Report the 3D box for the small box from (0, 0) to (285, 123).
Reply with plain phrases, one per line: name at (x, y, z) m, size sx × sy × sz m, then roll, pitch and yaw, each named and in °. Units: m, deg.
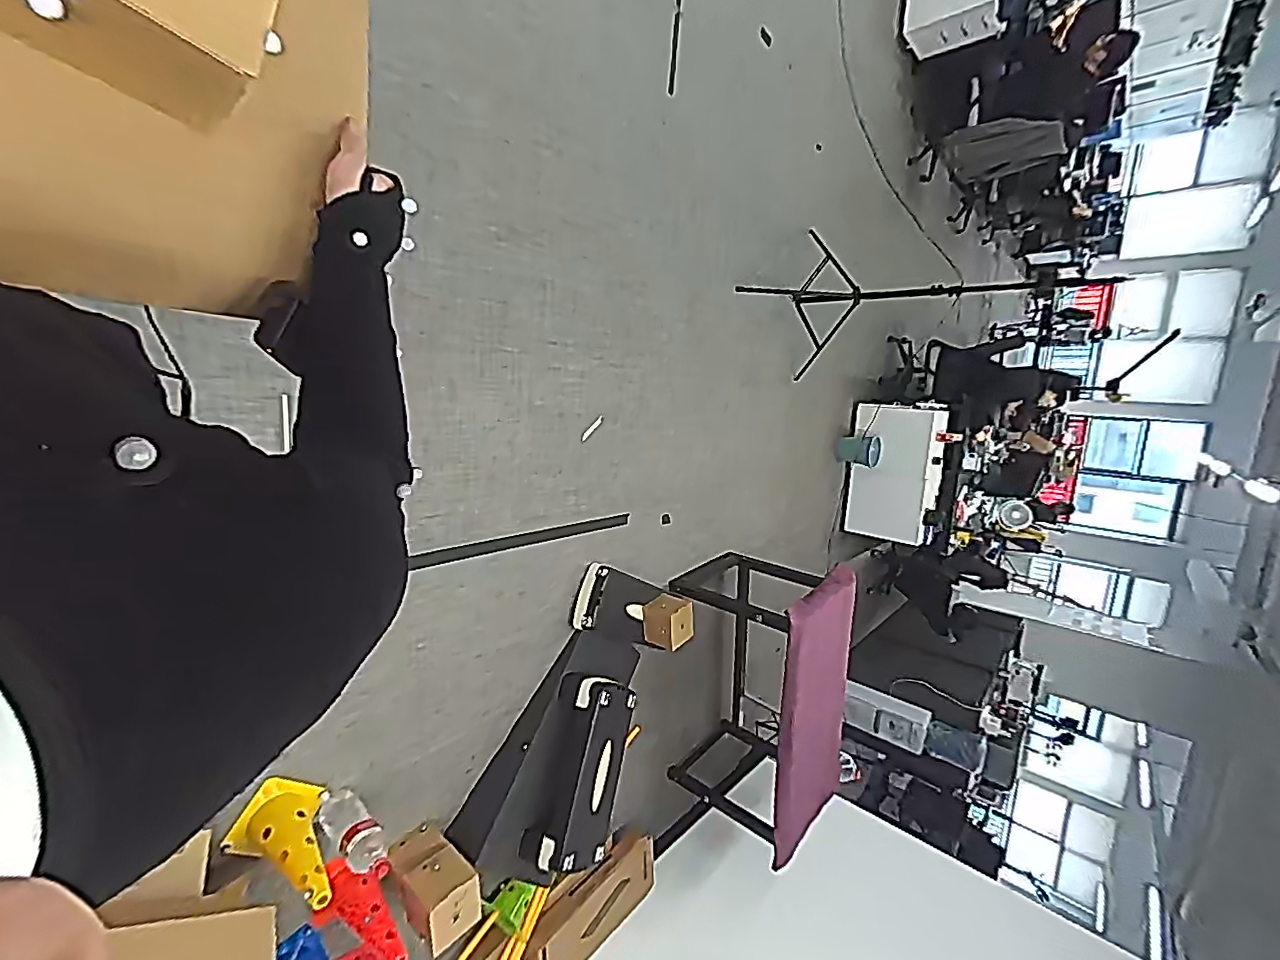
small box at (-0.349, -0.374, 0.358) m, size 0.179 × 0.176 × 0.168 m, roll 14°, pitch 92°, yaw -46°
